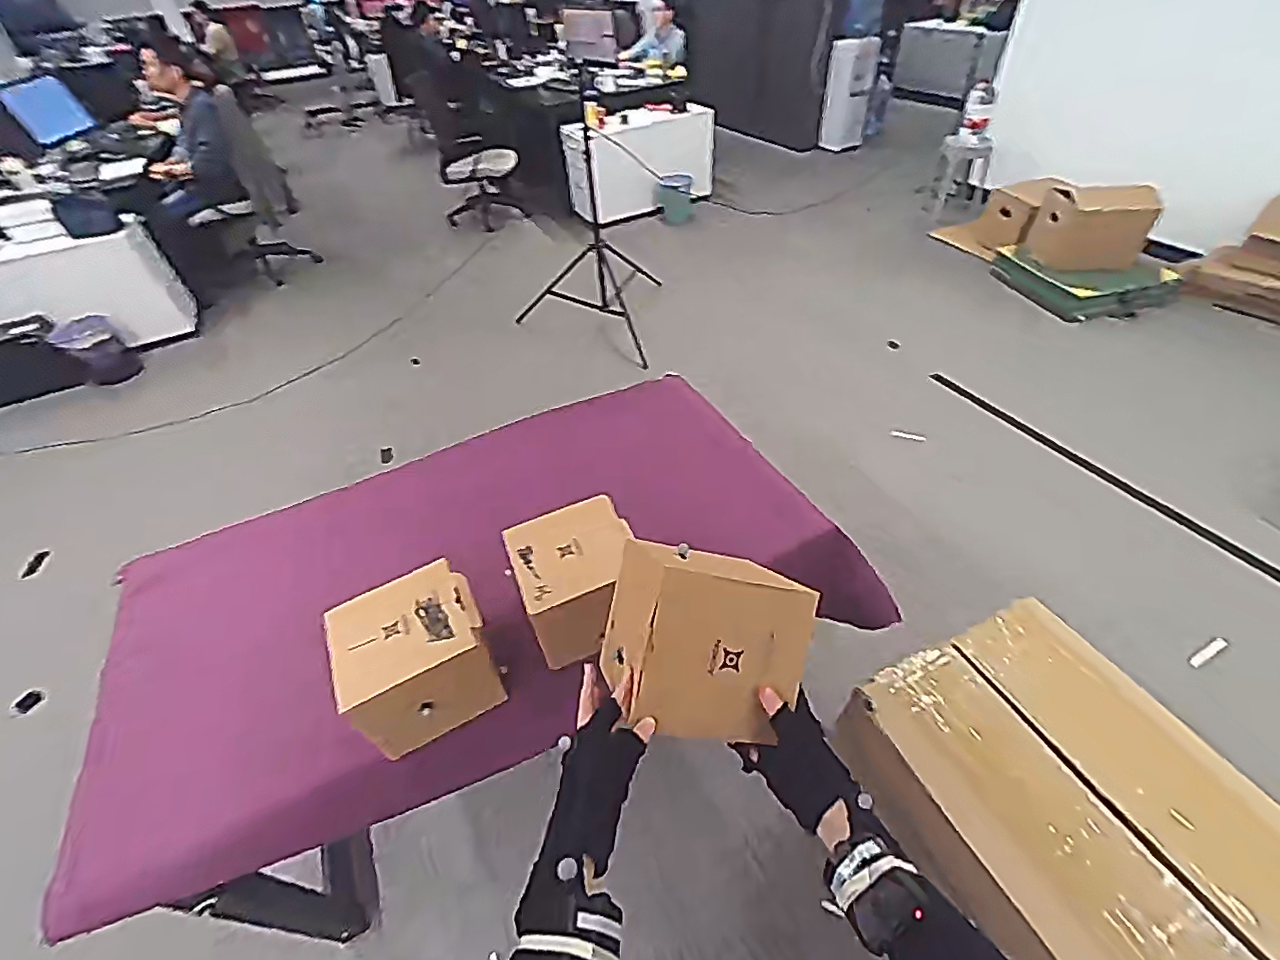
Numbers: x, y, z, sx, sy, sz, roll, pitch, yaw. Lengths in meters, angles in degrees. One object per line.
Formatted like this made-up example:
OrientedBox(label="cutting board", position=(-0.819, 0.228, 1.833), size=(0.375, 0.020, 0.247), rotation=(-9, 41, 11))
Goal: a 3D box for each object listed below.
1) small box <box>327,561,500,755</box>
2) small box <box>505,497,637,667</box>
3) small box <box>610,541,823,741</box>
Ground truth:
OrientedBox(label="small box", position=(-0.317, 0.256, 0.781), size=(0.179, 0.176, 0.168), rotation=(-24, 47, -17))
OrientedBox(label="small box", position=(-0.096, 0.161, 0.856), size=(0.179, 0.176, 0.168), rotation=(-19, 46, -14))
OrientedBox(label="small box", position=(0.074, 0.172, 0.622), size=(0.179, 0.168, 0.176), rotation=(12, 1, -15))
